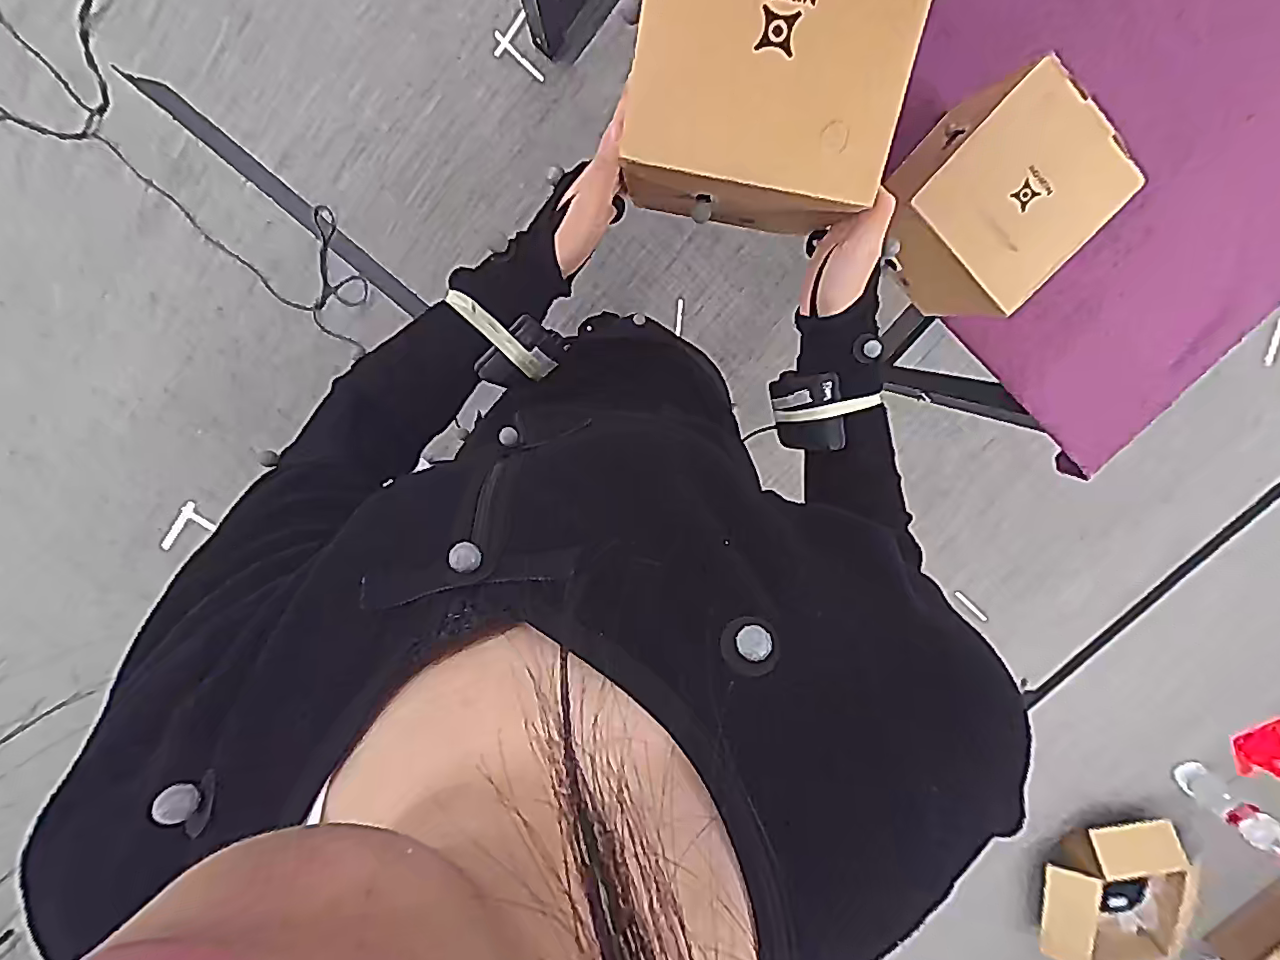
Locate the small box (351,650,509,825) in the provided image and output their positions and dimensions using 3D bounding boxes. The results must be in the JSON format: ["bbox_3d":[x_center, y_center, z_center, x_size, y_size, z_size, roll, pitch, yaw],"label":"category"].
[{"bbox_3d":[-0.350,0.438,0.940,0.168,0.176,0.179,40,102,-13],"label":"small box"}]

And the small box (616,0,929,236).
[{"bbox_3d":[0.084,-0.289,0.388,0.168,0.176,0.179,10,106,-1],"label":"small box"}]

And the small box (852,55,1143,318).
[{"bbox_3d":[0.378,-0.306,0.608,0.168,0.176,0.179,40,102,-12],"label":"small box"}]
